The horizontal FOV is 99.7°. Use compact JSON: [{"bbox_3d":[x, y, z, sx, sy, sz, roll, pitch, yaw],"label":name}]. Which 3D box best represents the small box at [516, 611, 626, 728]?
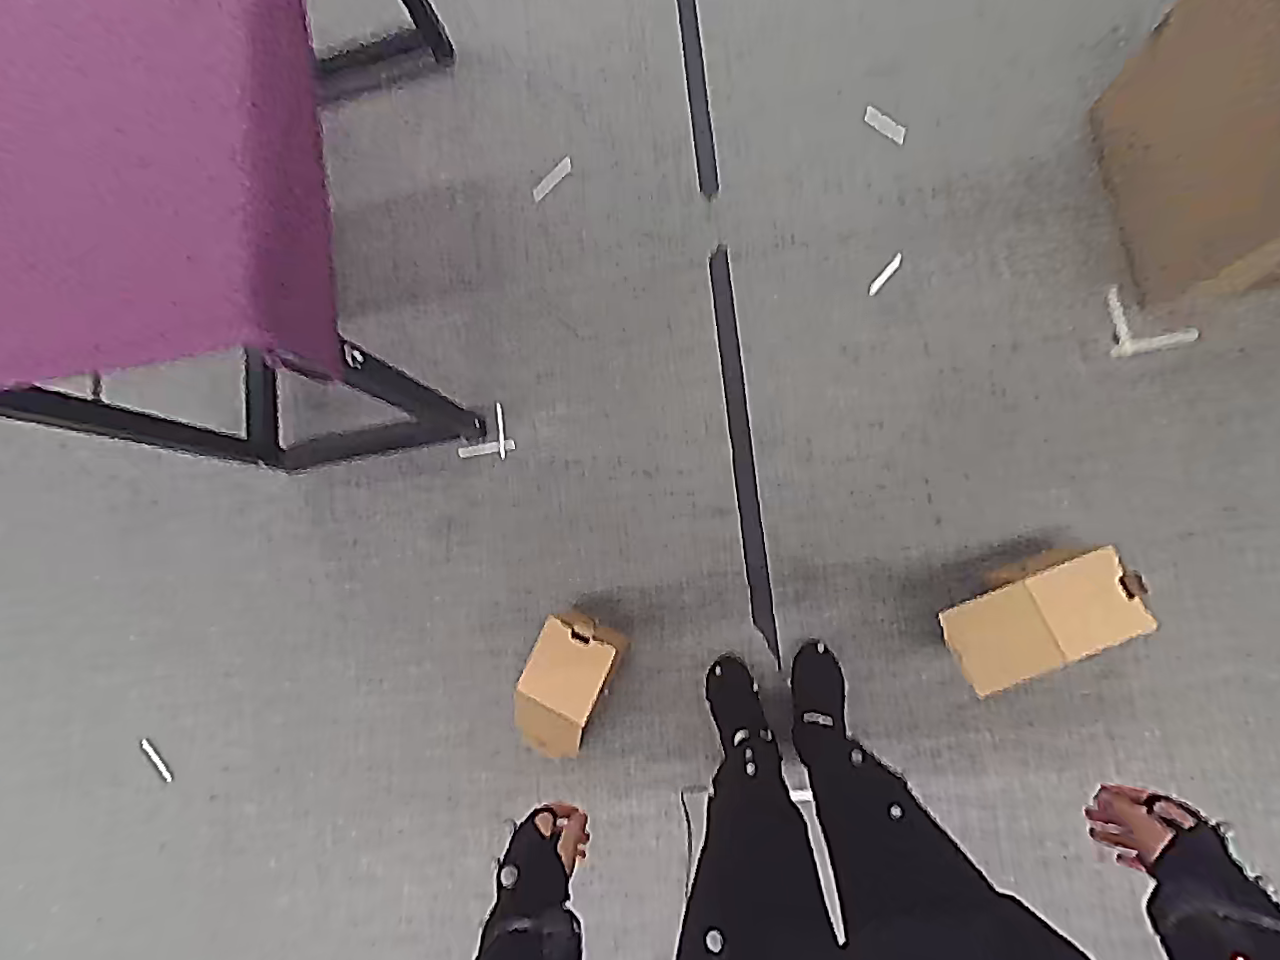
[{"bbox_3d":[-0.143,0.412,1.207,0.168,0.176,0.179,23,86,11],"label":"small box"}]
